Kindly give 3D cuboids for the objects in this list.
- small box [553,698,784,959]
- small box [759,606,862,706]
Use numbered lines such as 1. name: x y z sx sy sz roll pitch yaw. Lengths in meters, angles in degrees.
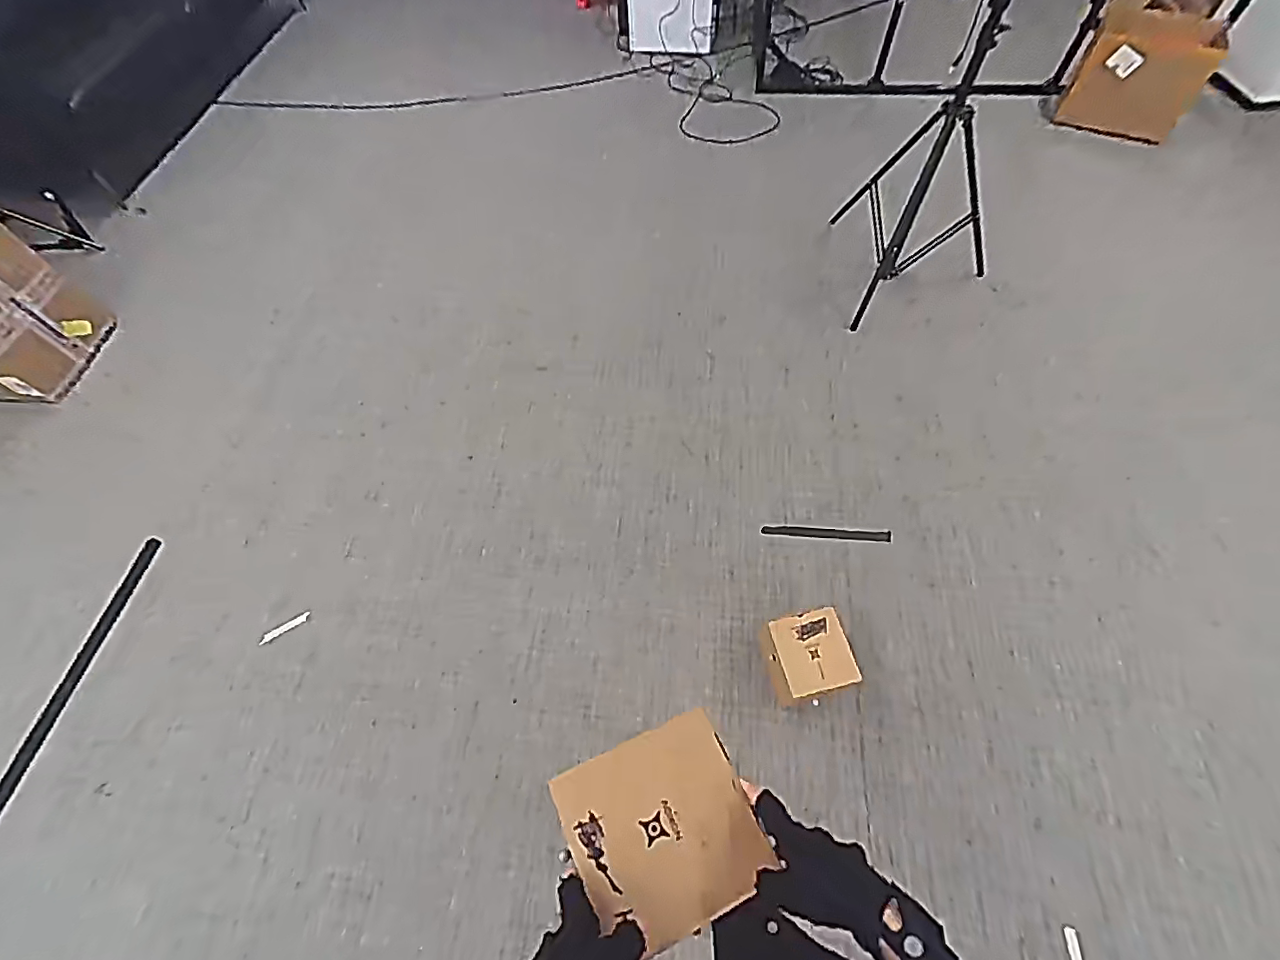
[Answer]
1. small box: 0.019 0.364 0.578 0.179 0.176 0.168 -20 57 -16
2. small box: 0.398 0.427 1.302 0.168 0.176 0.179 -13 61 -4
